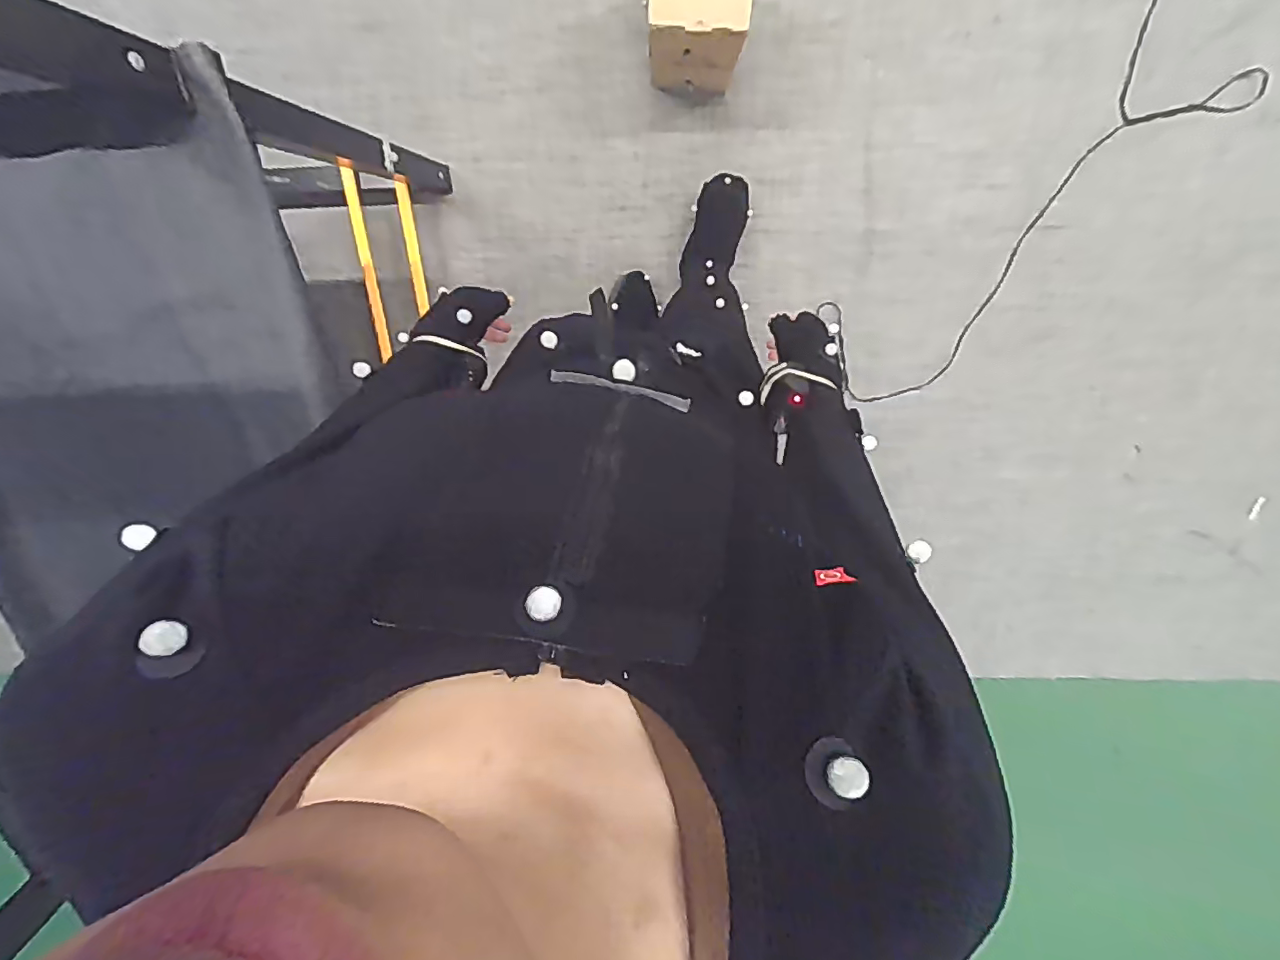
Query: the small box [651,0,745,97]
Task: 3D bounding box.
[{"bbox_3d":[0.112,-0.891,1.072,0.168,0.176,0.179,5,113,1],"label":"small box"}]
